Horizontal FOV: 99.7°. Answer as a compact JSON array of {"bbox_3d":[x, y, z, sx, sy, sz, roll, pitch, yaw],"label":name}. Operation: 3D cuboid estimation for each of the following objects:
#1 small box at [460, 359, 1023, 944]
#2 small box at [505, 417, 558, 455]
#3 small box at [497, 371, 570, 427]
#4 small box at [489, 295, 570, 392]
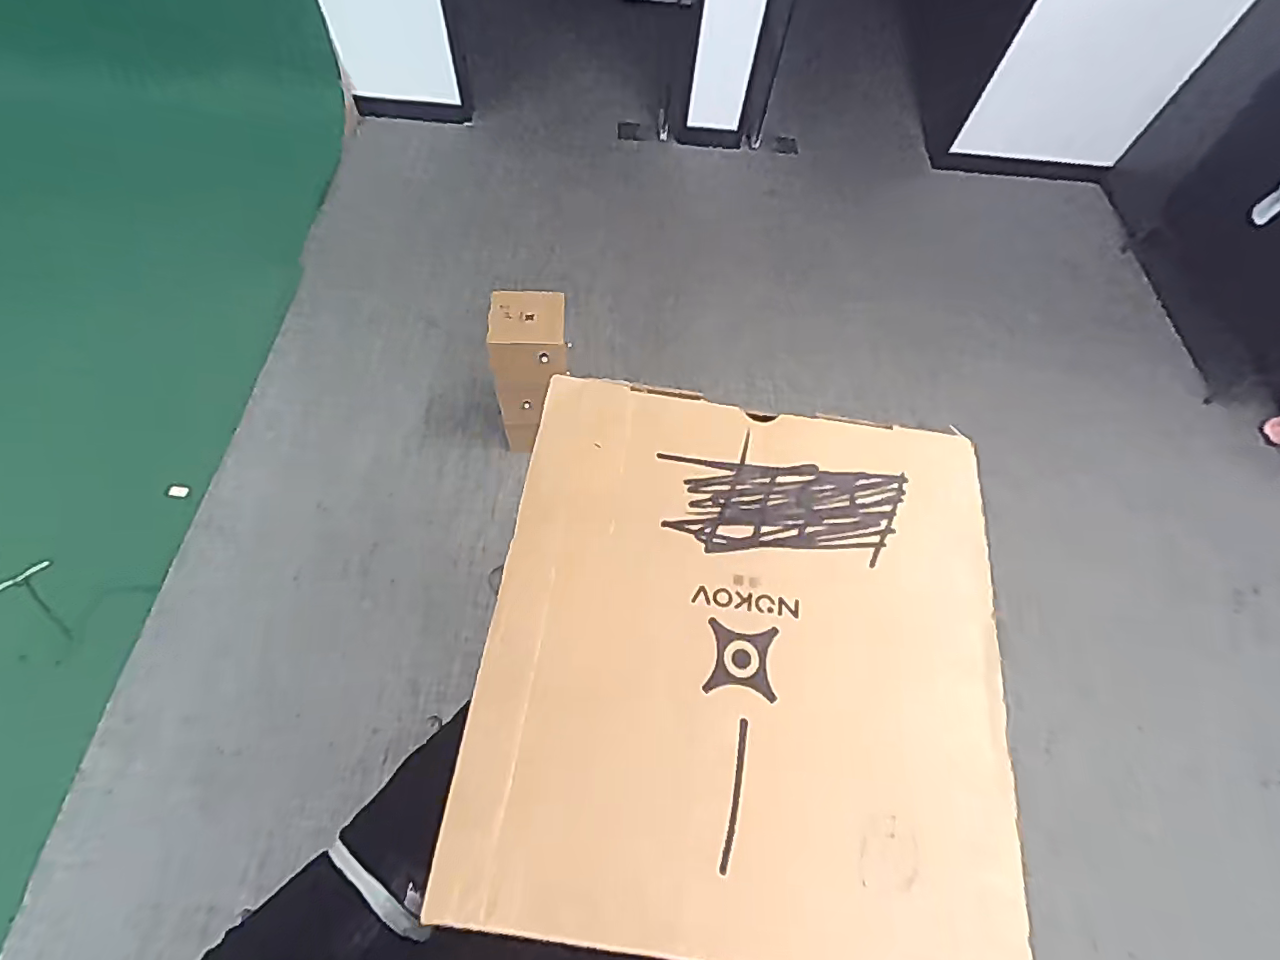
[{"bbox_3d":[0.036,0.072,0.260,0.168,0.176,0.179,8,67,1],"label":"small box"},{"bbox_3d":[-0.302,-0.186,1.629,0.179,0.176,0.168,-1,62,-4],"label":"small box"},{"bbox_3d":[-0.284,-0.258,1.482,0.179,0.176,0.168,-2,63,-4],"label":"small box"},{"bbox_3d":[-0.264,-0.332,1.336,0.179,0.176,0.168,-1,61,-4],"label":"small box"}]
